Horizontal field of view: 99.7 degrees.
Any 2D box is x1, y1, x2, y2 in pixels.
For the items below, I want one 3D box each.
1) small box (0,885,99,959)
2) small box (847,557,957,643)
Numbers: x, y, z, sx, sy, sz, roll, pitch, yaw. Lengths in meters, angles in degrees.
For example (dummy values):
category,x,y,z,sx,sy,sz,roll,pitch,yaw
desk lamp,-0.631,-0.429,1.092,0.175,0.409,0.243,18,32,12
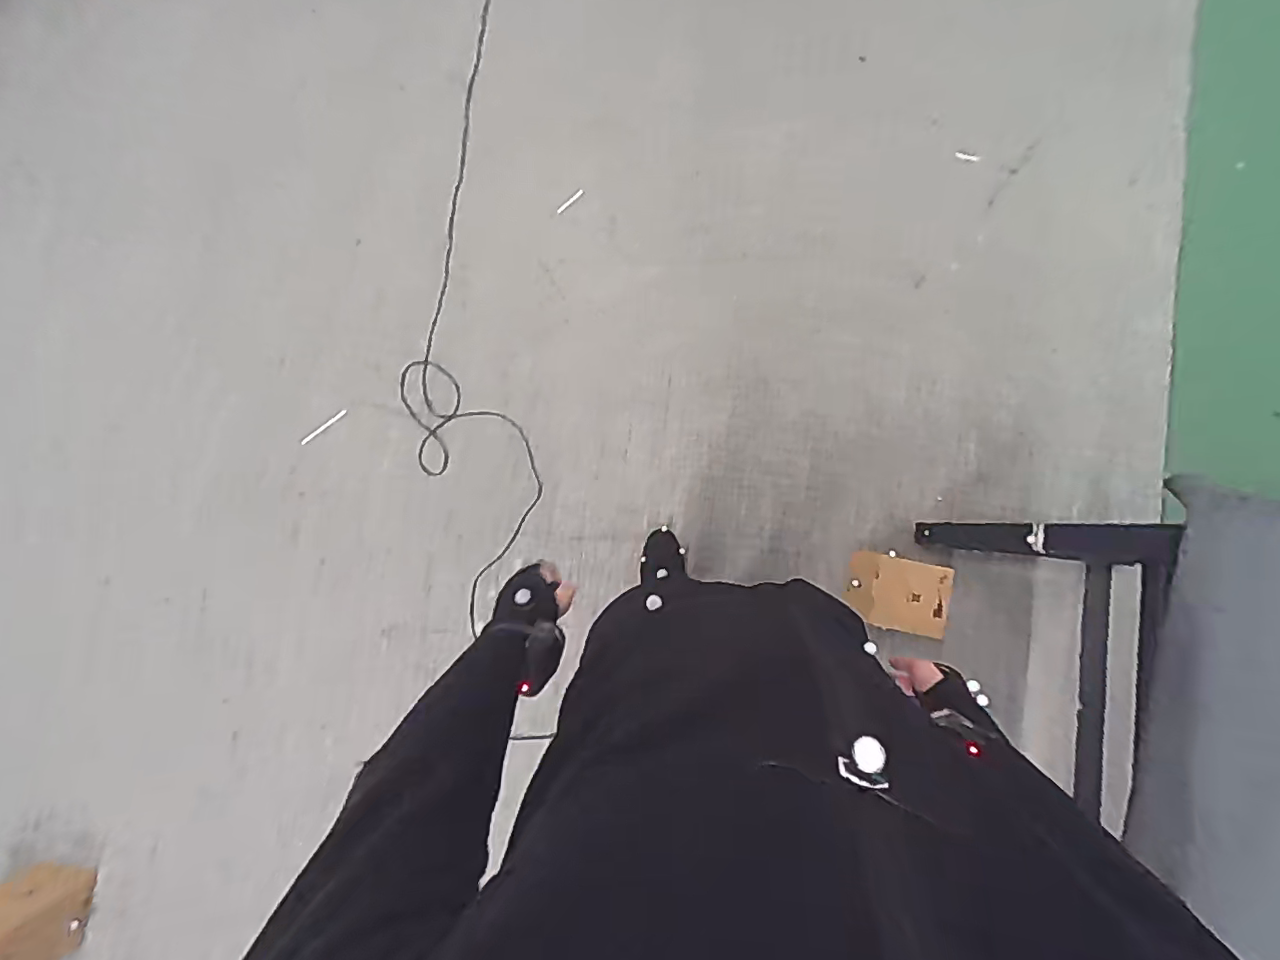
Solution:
category,x,y,z,sx,sy,sz,roll,pitch,yaw
small box,-1.402,1.058,1.219,0.179,0.176,0.168,8,86,-1
small box,0.627,0.284,1.314,0.179,0.176,0.168,12,85,0
